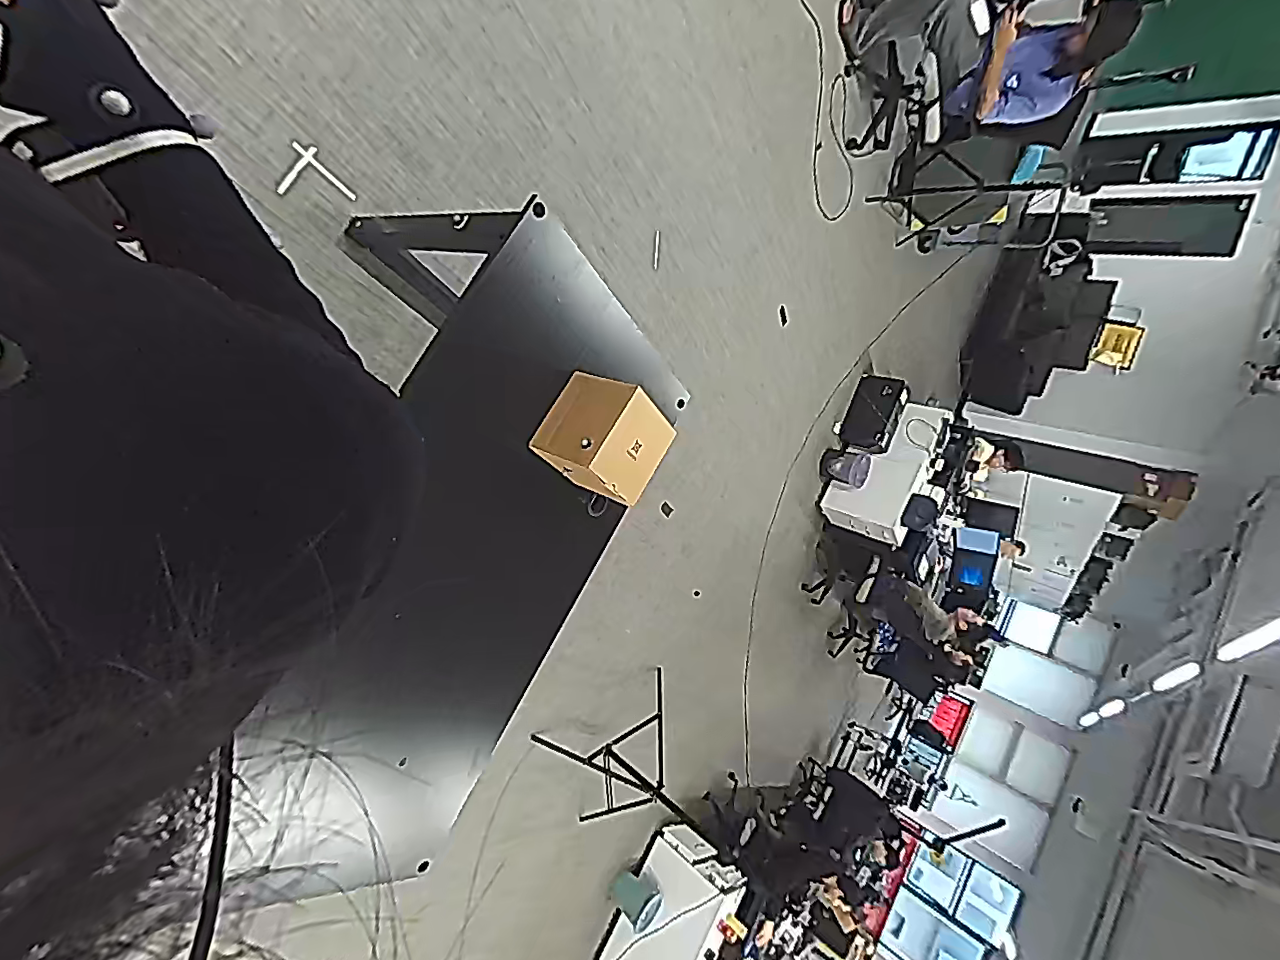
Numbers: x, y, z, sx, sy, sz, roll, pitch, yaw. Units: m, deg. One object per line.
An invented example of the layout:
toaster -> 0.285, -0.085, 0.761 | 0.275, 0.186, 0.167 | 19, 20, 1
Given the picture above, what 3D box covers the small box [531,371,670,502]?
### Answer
small box -> -0.077, -0.089, 1.041 | 0.179, 0.176, 0.168 | -60, 141, -11
